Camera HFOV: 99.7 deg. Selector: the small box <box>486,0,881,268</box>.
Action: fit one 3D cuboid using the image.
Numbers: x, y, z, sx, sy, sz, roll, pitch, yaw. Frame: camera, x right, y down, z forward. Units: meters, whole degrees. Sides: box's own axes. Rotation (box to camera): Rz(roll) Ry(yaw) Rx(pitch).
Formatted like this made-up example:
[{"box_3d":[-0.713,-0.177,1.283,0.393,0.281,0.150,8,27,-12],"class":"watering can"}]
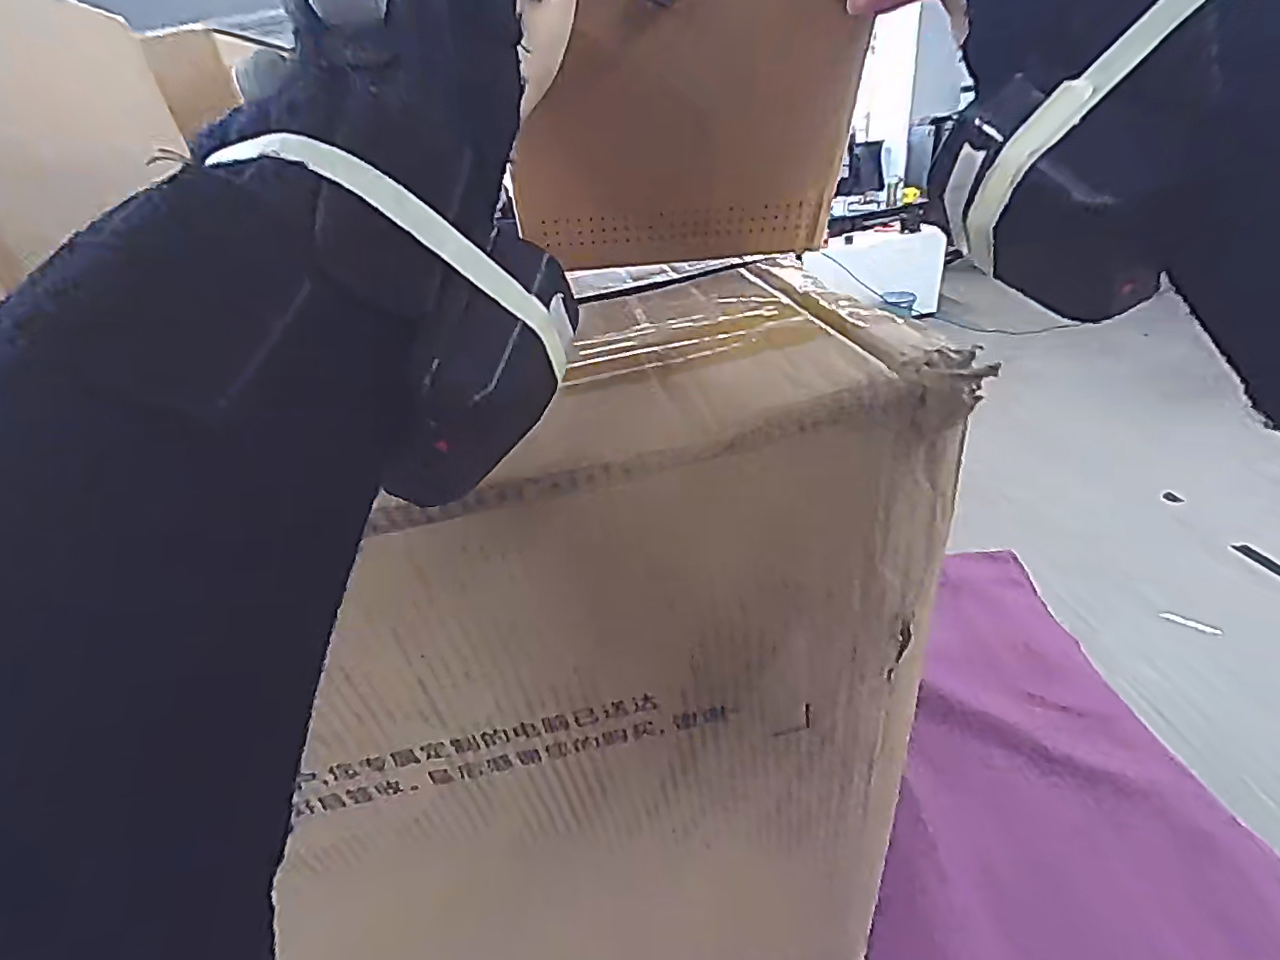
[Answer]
[{"box_3d":[0.017,-0.242,0.307,0.179,0.176,0.168,-6,51,-1],"class":"small box"}]
